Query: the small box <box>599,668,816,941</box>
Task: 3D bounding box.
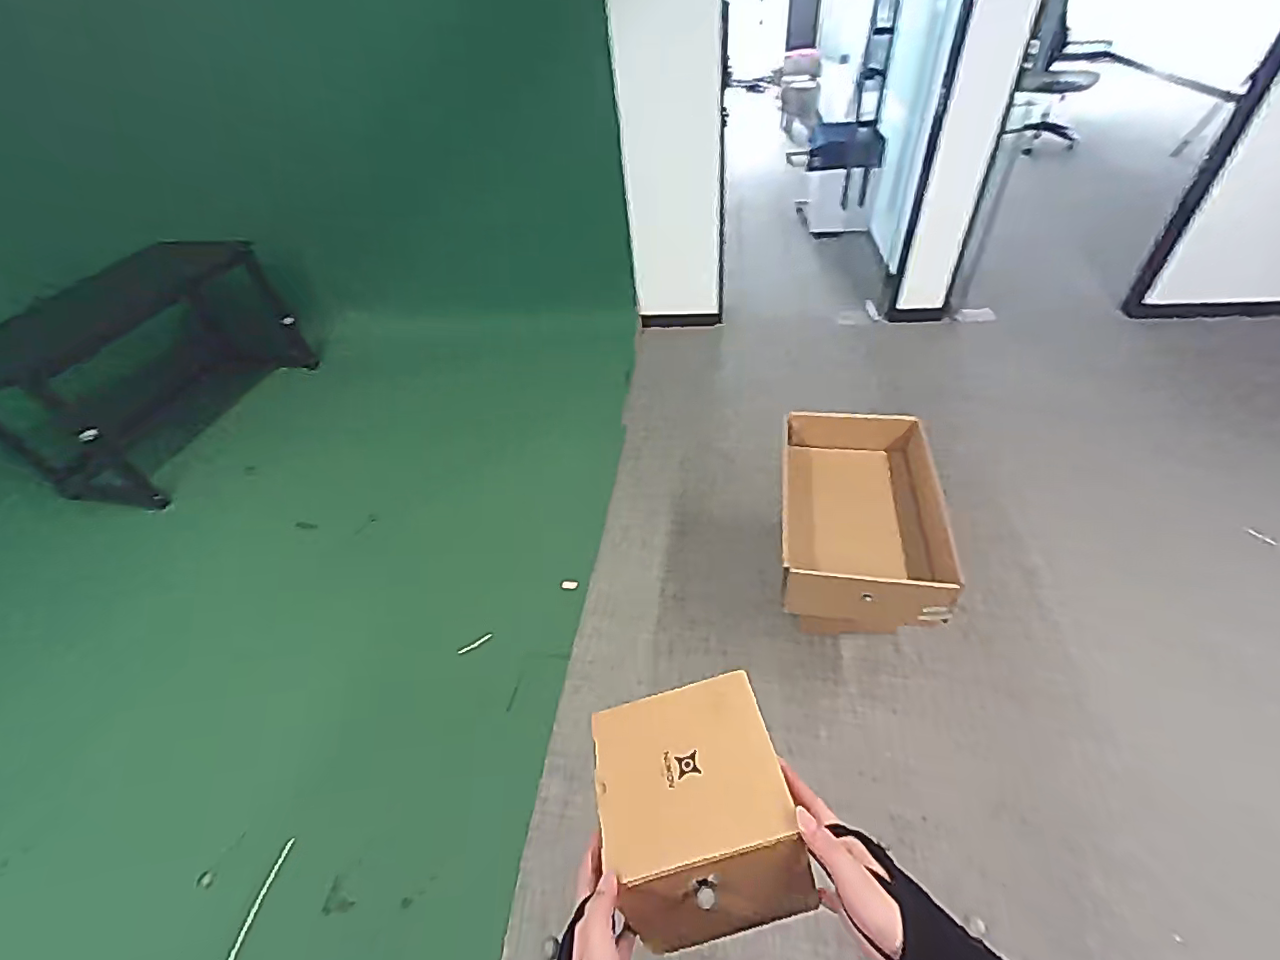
[{"bbox_3d":[0.069,0.331,0.555,0.179,0.176,0.168,-18,33,3],"label":"small box"}]
